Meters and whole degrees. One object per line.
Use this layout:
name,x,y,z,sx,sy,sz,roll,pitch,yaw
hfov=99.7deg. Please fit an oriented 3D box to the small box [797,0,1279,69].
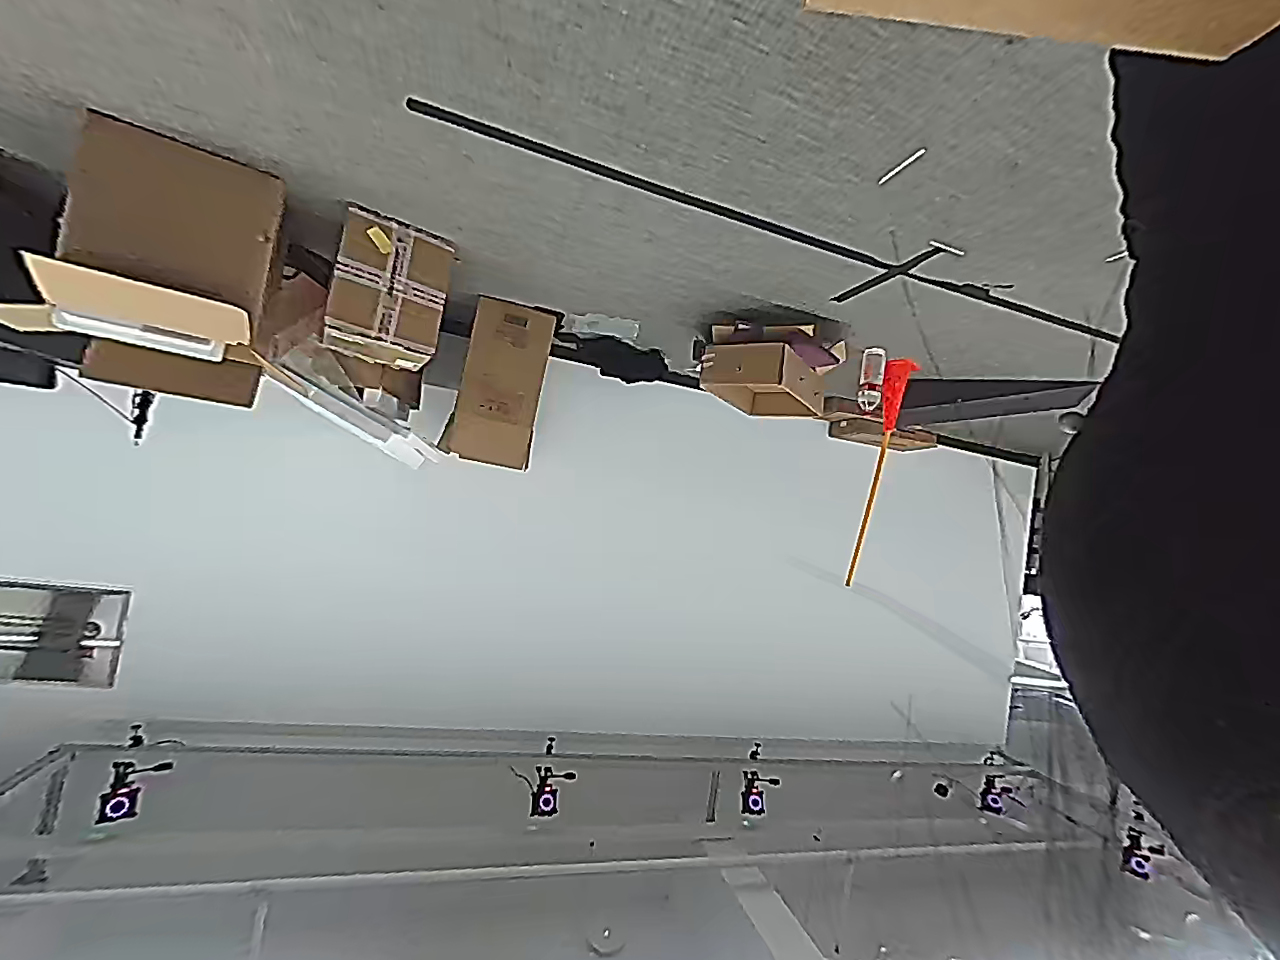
small box,0.148,-0.252,0.124,0.168,0.176,0.179,3,176,-5
